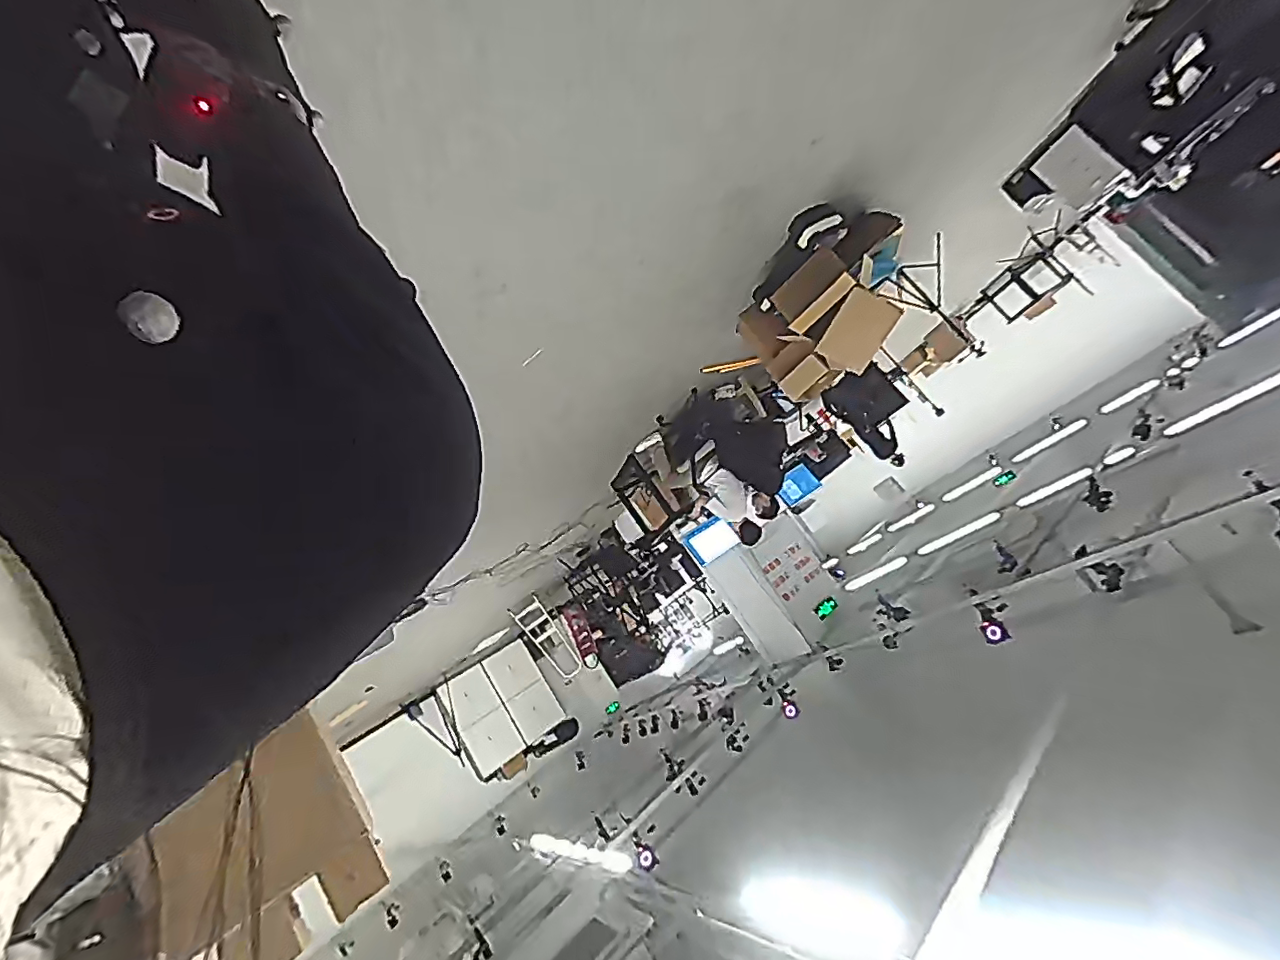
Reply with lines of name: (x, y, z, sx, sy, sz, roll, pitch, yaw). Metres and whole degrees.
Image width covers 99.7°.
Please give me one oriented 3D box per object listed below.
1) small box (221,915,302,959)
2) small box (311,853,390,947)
small box: (-1.126, 1.440, 1.595, 0.179, 0.176, 0.168, -28, 162, -33)
small box: (-0.928, 1.335, 1.734, 0.168, 0.176, 0.179, -28, 161, -33)
